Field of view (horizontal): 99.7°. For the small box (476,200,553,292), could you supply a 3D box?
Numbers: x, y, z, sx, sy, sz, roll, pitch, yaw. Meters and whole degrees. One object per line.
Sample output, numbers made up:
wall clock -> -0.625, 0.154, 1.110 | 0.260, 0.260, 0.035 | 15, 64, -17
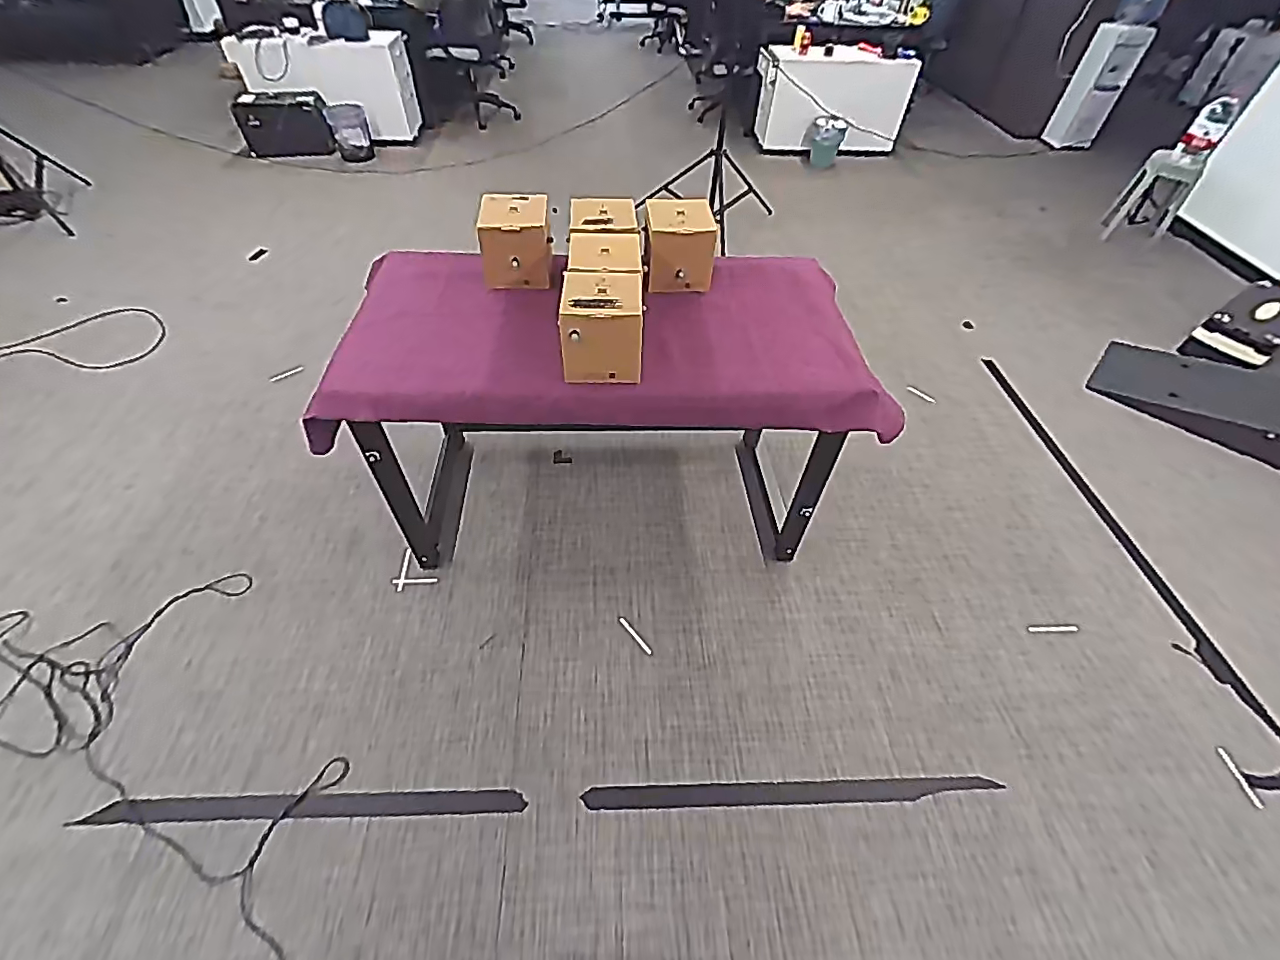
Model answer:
small box -> -0.319, -0.608, 1.415 | 0.168, 0.176, 0.179 | -2, 52, -4
